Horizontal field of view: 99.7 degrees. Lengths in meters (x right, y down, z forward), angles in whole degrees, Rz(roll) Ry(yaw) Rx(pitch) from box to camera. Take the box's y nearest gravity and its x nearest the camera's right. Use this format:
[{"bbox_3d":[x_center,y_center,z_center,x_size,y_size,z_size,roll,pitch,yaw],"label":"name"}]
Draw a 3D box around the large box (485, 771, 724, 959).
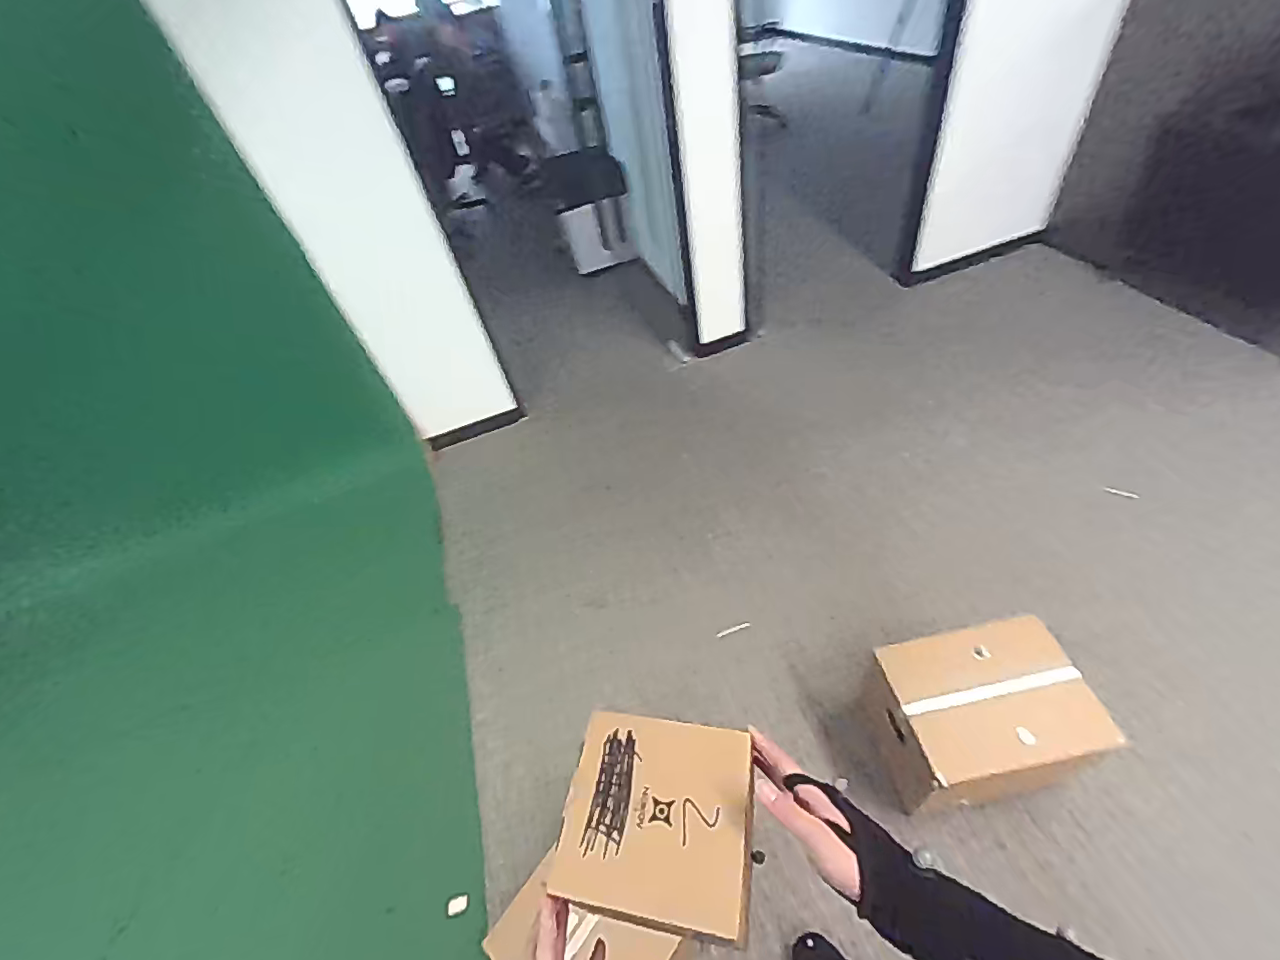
[{"bbox_3d":[-0.050,0.951,1.193,0.320,0.320,0.408,25,59,32],"label":"large box"}]
